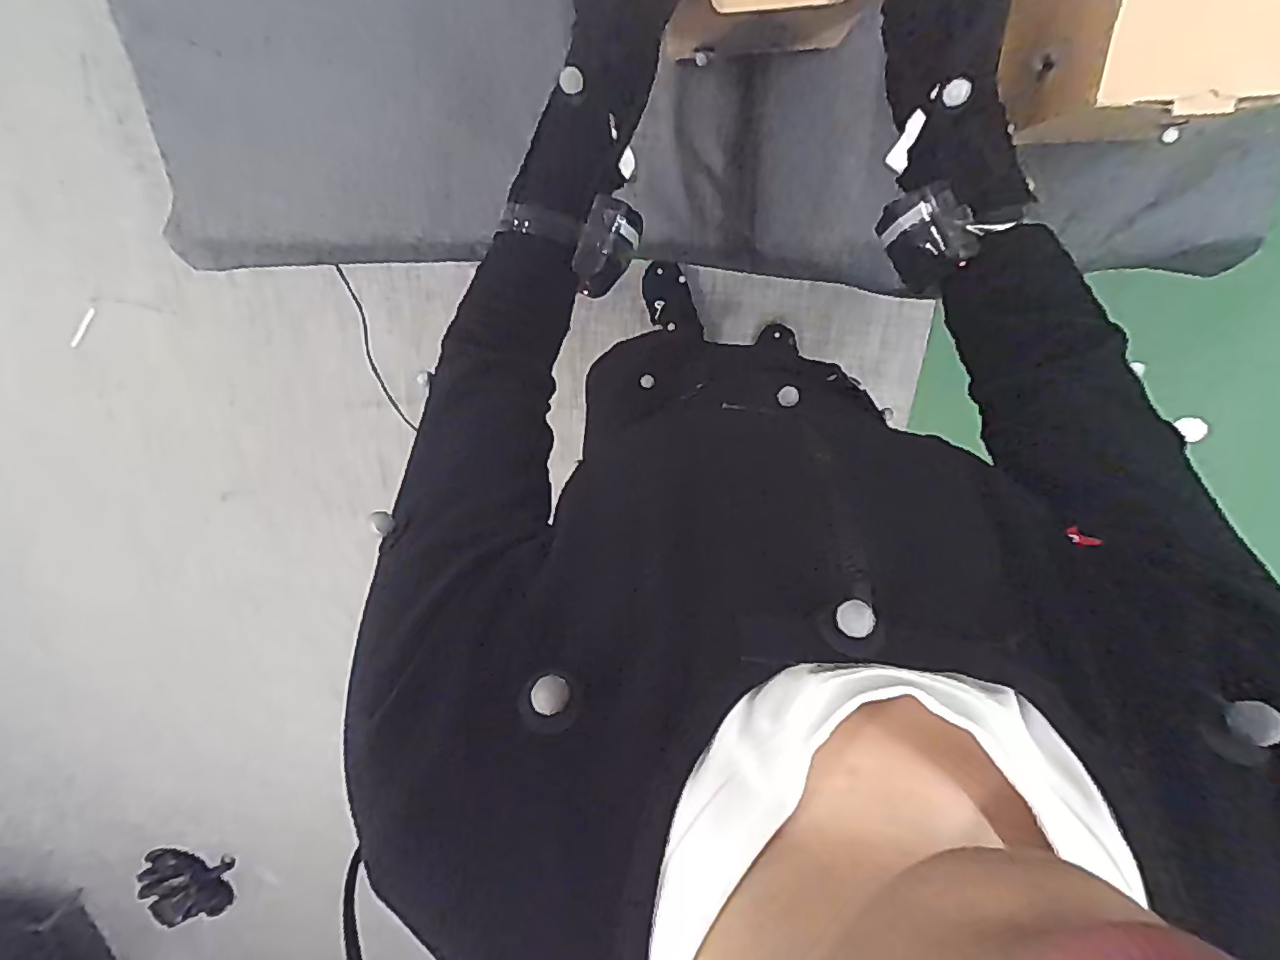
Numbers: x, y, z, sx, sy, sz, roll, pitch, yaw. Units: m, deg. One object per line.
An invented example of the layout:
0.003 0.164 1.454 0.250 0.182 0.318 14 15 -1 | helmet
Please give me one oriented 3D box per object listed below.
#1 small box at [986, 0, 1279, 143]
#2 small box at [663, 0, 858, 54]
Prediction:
0.424 -0.392 0.449 0.168 0.176 0.179 0 112 4 | small box
0.099 -0.469 0.428 0.168 0.176 0.179 -2 111 4 | small box
